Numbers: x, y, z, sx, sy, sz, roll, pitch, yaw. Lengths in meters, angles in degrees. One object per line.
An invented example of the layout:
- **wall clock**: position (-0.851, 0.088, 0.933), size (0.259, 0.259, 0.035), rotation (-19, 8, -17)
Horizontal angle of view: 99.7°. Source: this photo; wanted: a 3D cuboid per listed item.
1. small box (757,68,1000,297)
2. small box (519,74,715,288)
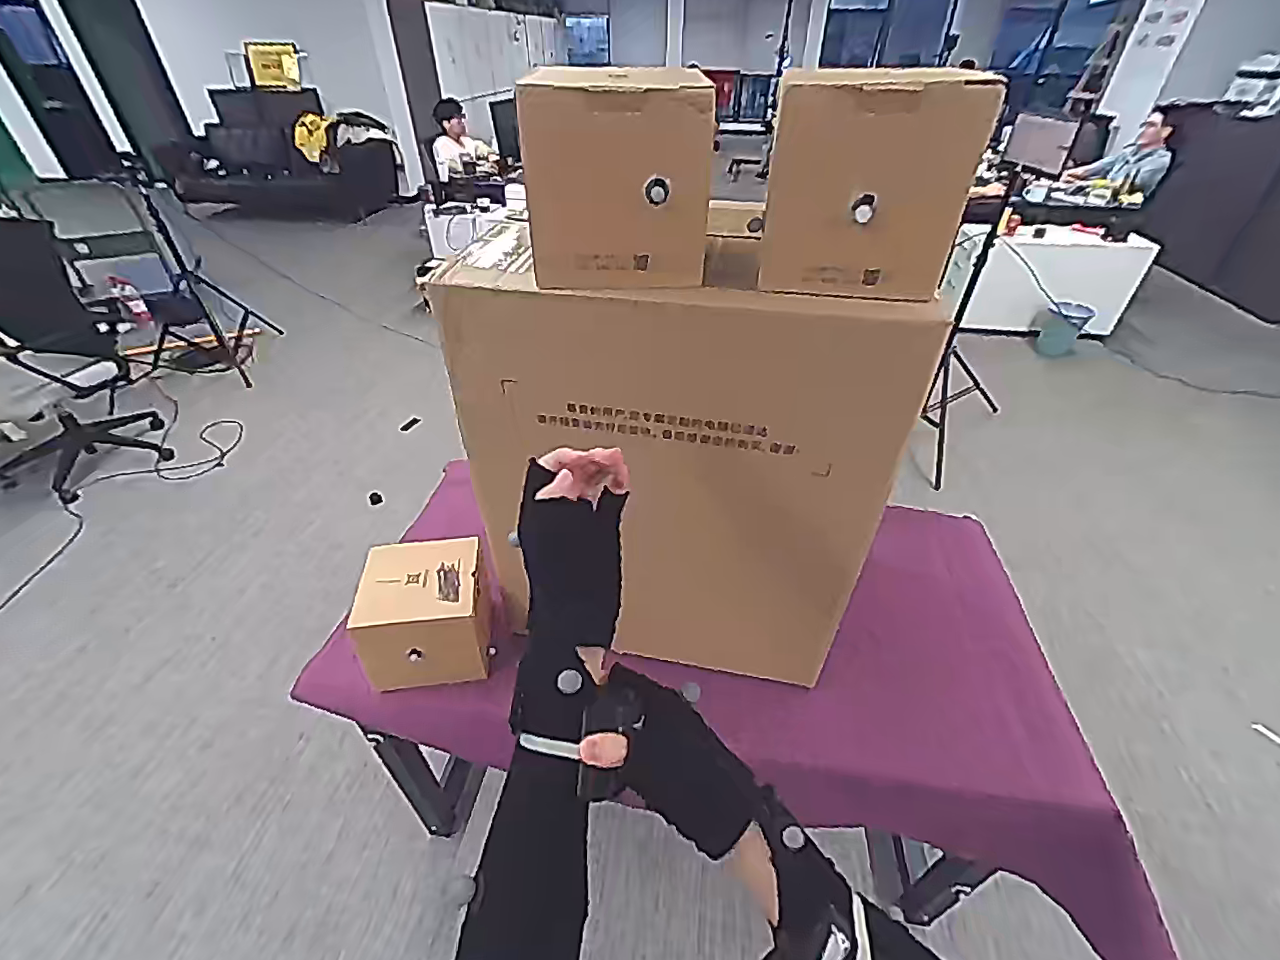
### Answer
- **small box**: position (0.211, -0.294, 0.533), size (0.168, 0.176, 0.179), rotation (7, 41, 9)
- **small box**: position (-0.020, -0.307, 0.555), size (0.168, 0.176, 0.179), rotation (0, 39, -2)
